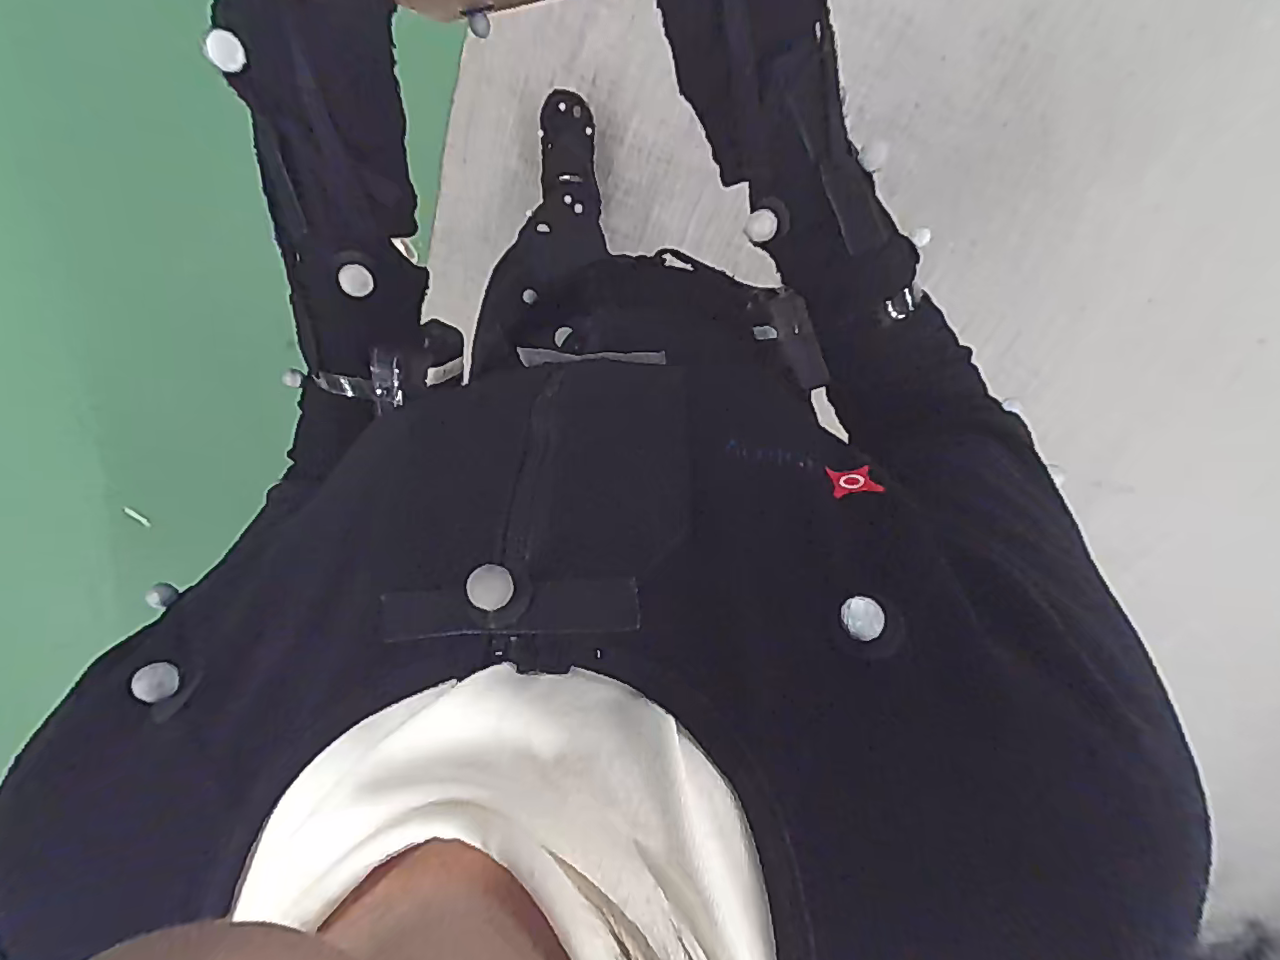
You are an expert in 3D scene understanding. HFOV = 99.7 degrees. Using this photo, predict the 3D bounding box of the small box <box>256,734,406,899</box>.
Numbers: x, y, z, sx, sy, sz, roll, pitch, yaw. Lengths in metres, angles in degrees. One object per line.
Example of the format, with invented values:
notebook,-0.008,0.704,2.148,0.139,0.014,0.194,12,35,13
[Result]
small box,-0.534,0.586,0.949,0.168,0.176,0.179,20,117,-10
